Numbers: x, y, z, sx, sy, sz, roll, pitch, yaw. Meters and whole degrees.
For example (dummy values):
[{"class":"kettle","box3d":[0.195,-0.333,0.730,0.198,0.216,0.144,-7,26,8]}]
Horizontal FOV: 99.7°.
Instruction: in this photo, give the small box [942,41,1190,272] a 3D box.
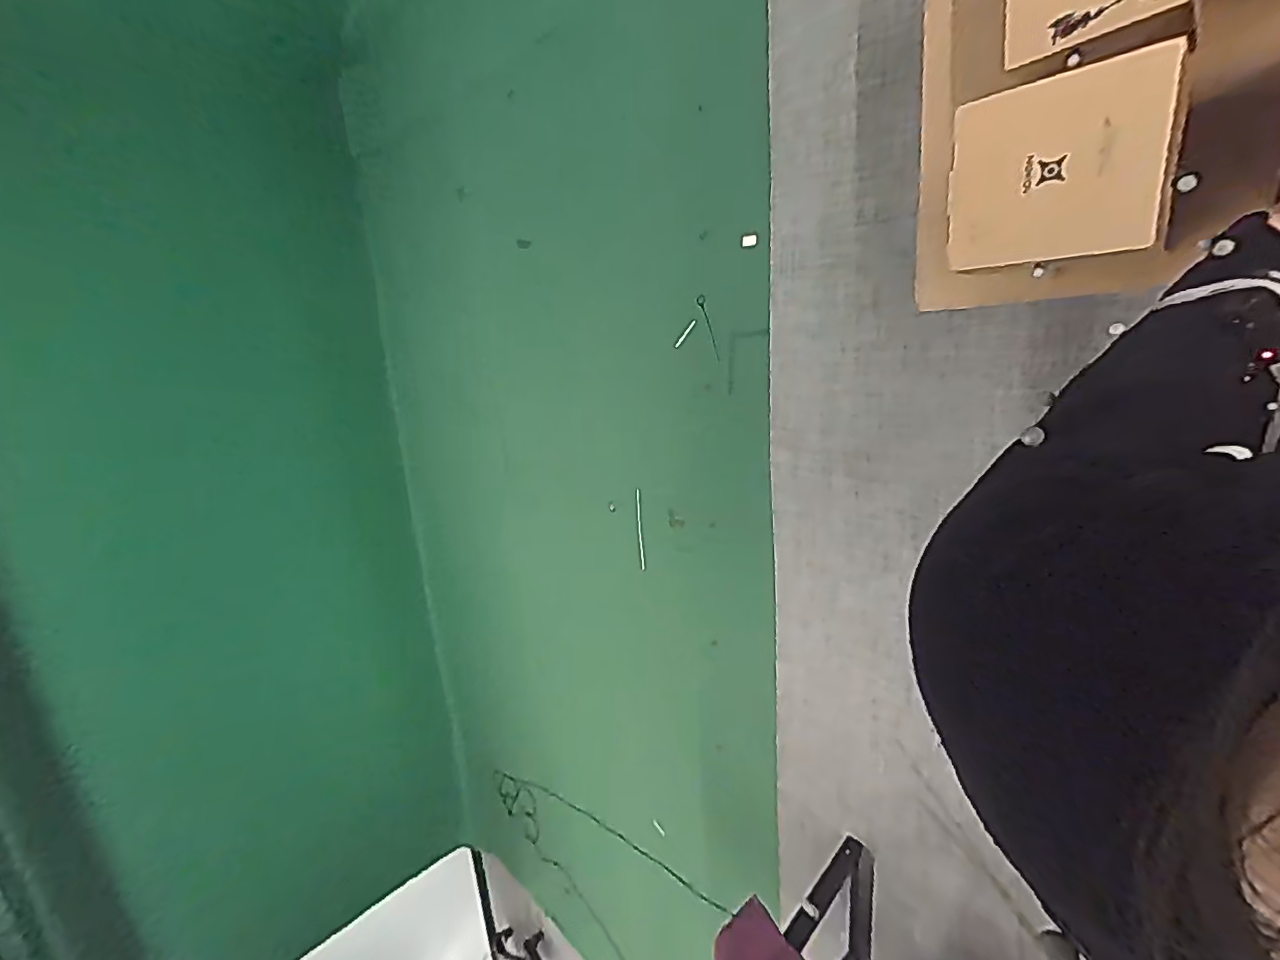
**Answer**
[{"class":"small box","box3d":[0.457,-0.323,0.587,0.179,0.176,0.168,12,113,44]}]

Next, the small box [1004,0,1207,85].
[{"class":"small box","box3d":[0.554,-0.591,0.638,0.168,0.176,0.179,8,108,47]}]
